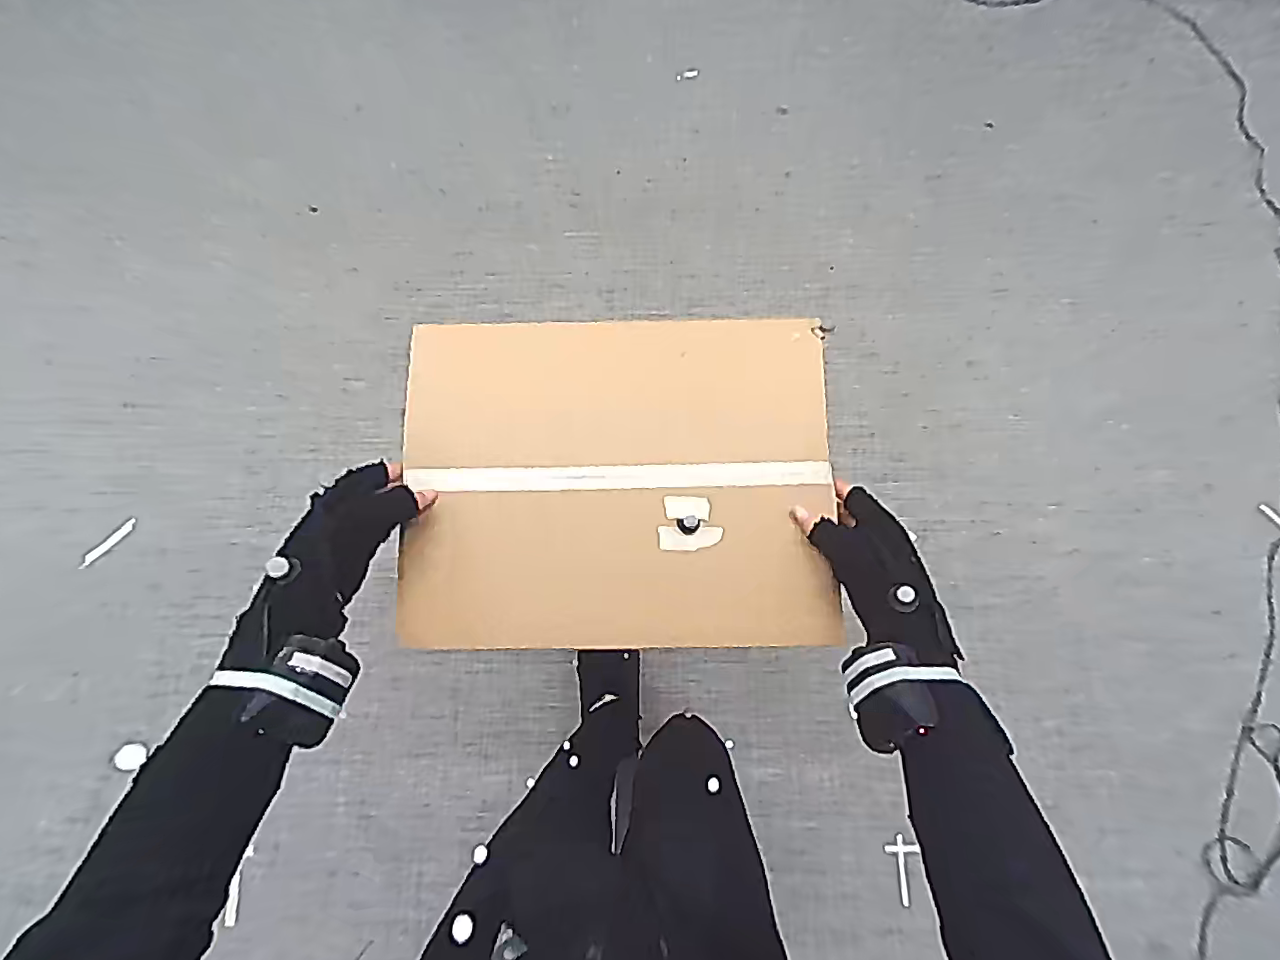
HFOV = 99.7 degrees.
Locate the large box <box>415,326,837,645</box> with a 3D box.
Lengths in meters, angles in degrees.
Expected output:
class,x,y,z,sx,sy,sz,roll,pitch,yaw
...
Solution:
class,x,y,z,sx,sy,sz,roll,pitch,yaw
large box,-0.018,0.022,0.675,0.408,0.320,0.320,-1,81,0
